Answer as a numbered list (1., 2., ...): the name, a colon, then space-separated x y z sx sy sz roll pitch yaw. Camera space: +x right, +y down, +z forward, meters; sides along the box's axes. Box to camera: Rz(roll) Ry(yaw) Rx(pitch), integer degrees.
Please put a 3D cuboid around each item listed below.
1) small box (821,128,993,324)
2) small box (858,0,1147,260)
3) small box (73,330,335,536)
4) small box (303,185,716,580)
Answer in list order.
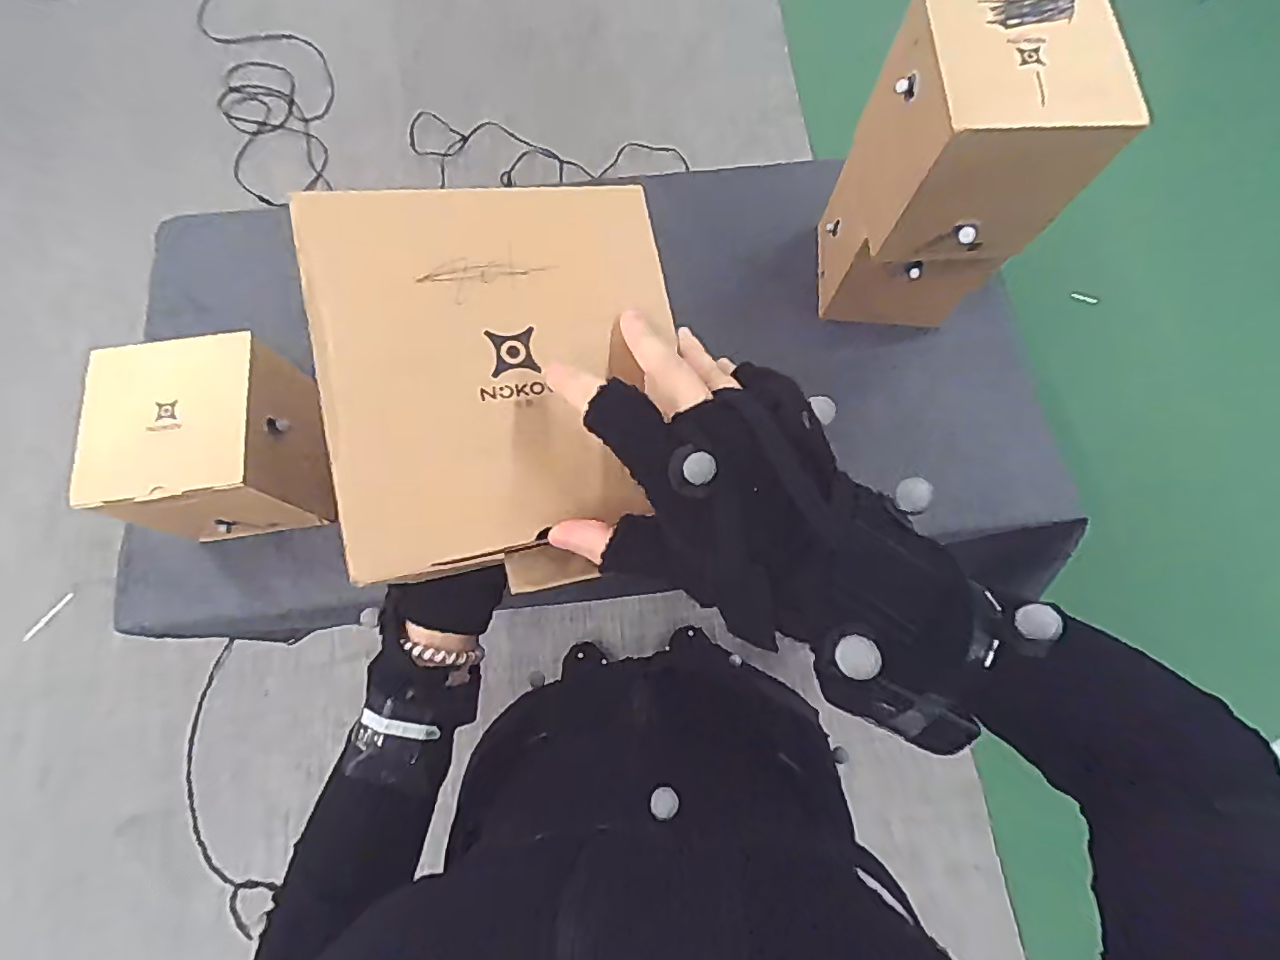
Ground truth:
1. small box: 0.346 -0.323 0.709 0.179 0.176 0.168 5 74 1
2. small box: 0.337 -0.351 0.546 0.168 0.176 0.179 -1 75 0
3. small box: -0.477 -0.045 0.624 0.168 0.176 0.179 -8 74 -3
4. small box: -0.076 -0.044 0.327 0.168 0.176 0.179 -10 83 -18
